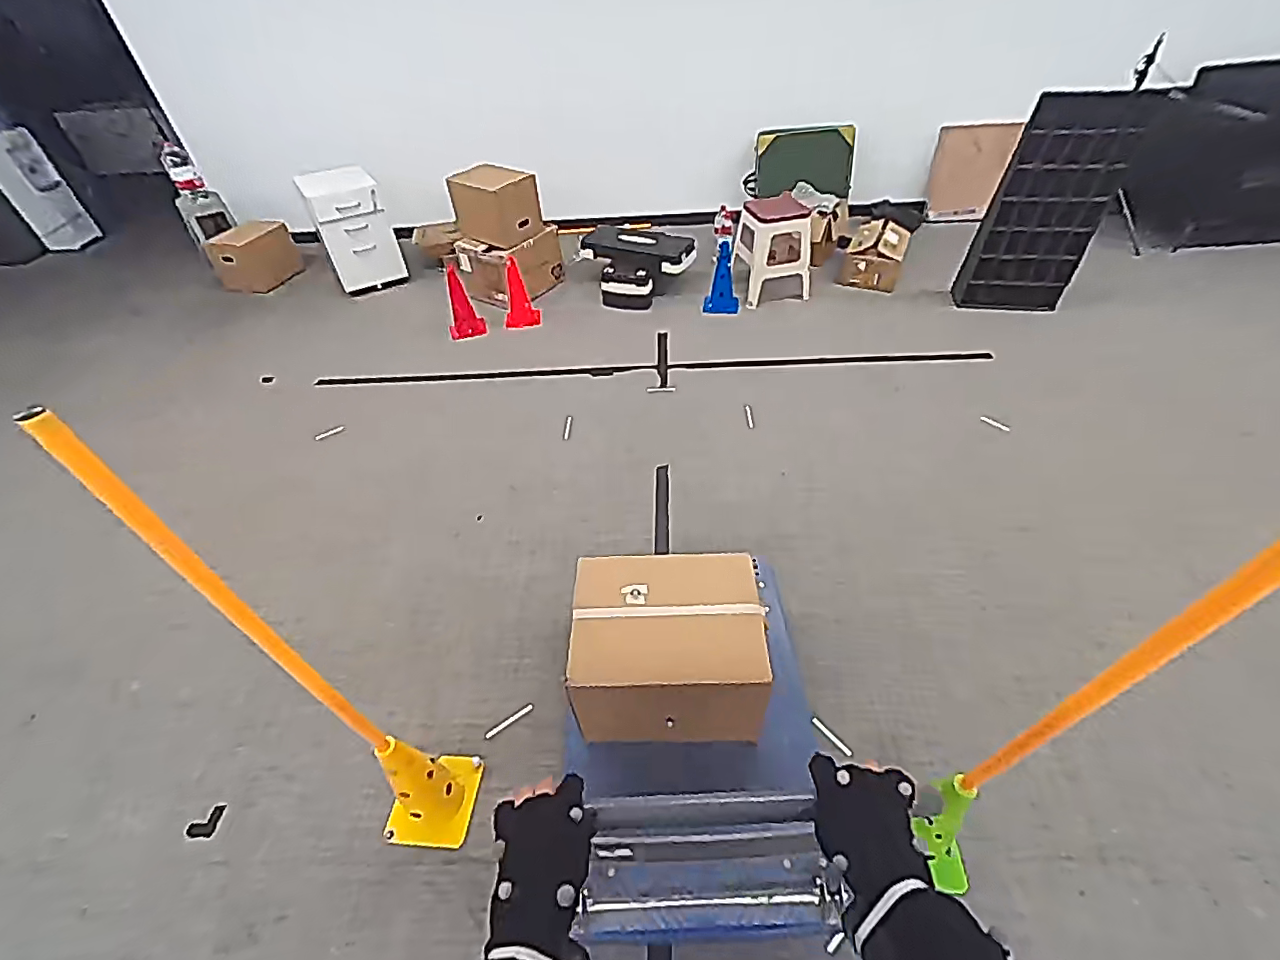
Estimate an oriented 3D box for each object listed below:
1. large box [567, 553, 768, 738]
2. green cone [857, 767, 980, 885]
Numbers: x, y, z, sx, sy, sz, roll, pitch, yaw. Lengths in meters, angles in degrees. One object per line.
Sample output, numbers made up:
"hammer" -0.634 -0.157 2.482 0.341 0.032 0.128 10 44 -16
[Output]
"large box" 0.064 0.393 1.272 0.408 0.320 0.320 -3 45 3
"green cone" 0.614 0.689 1.132 0.202 0.368 0.200 2 45 5
